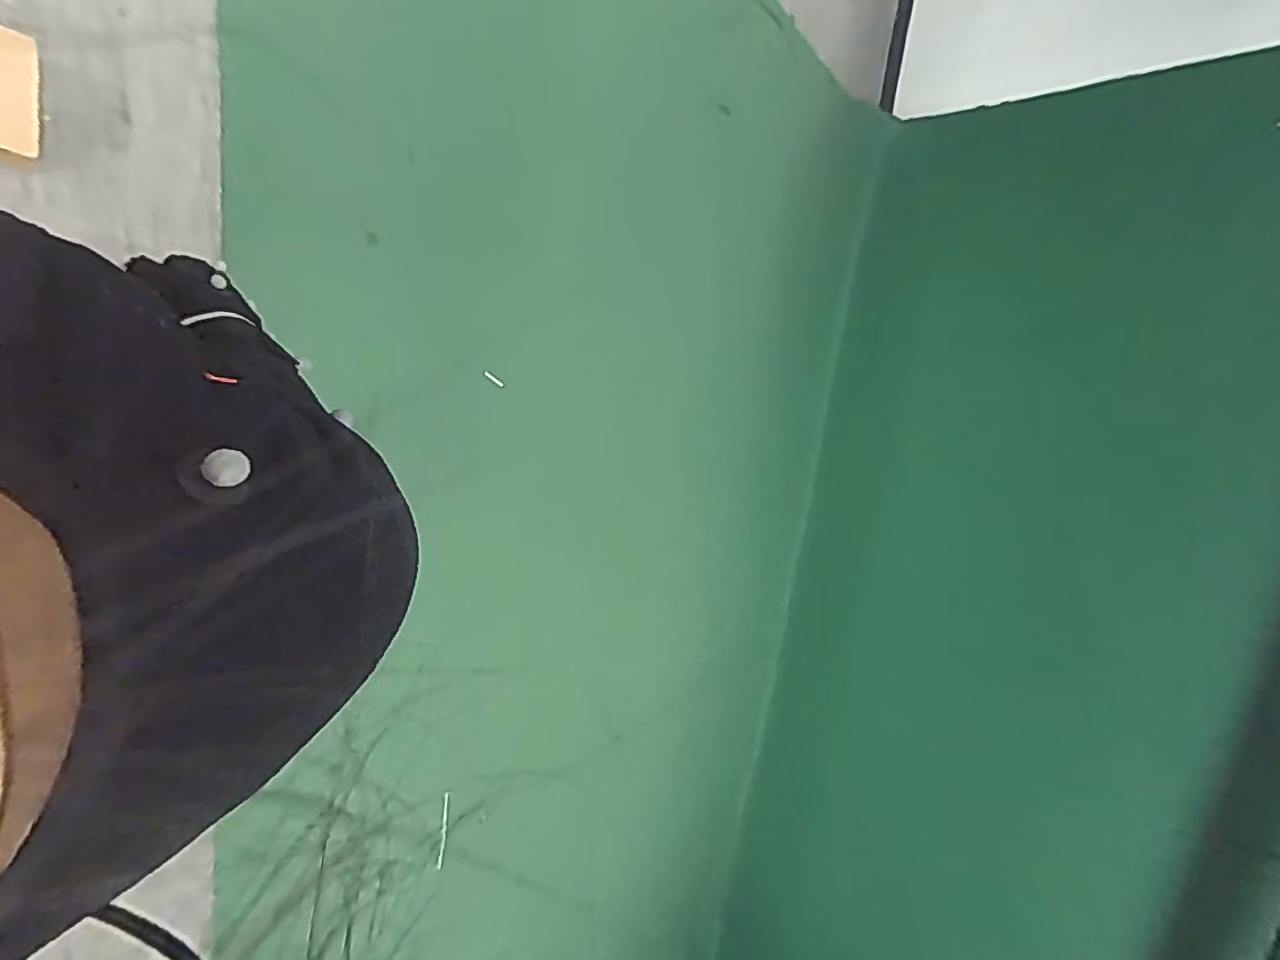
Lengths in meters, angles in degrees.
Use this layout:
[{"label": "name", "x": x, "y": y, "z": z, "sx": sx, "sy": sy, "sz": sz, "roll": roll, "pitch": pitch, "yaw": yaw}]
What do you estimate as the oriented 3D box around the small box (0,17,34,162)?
[{"label": "small box", "x": -1.042, "y": -0.612, "z": 0.816, "sx": 0.168, "sy": 0.176, "sz": 0.179, "roll": 0, "pitch": 103, "yaw": -49}]
